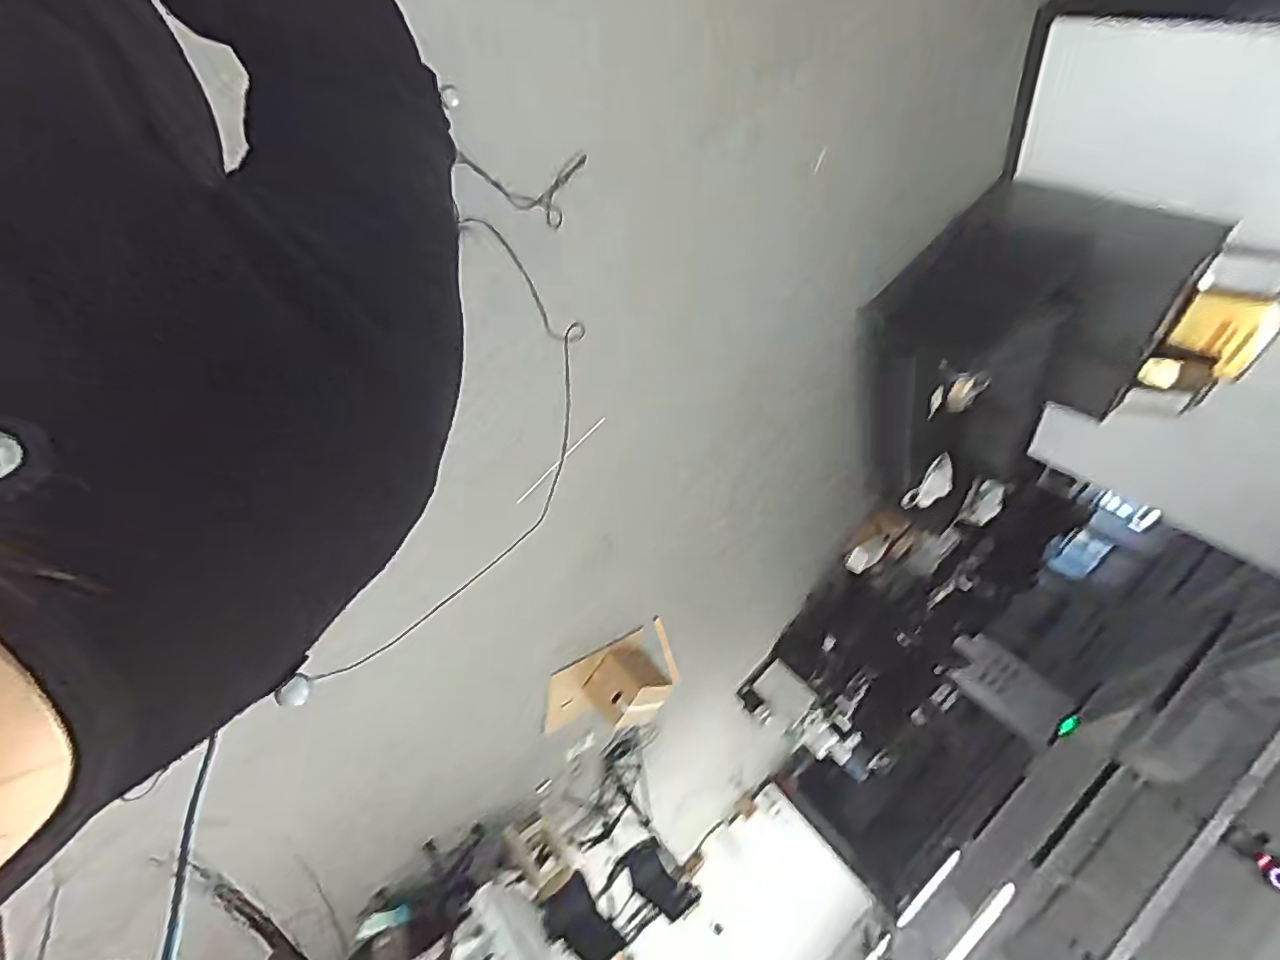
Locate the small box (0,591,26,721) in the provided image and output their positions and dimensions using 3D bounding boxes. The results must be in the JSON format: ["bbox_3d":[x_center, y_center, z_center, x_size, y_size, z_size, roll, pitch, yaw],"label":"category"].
[{"bbox_3d":[-0.760,0.198,0.522,0.168,0.176,0.179,-46,144,-4],"label":"small box"}]

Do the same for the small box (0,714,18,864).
[{"bbox_3d":[-0.662,0.289,0.427,0.179,0.176,0.168,-45,144,-3],"label":"small box"}]
